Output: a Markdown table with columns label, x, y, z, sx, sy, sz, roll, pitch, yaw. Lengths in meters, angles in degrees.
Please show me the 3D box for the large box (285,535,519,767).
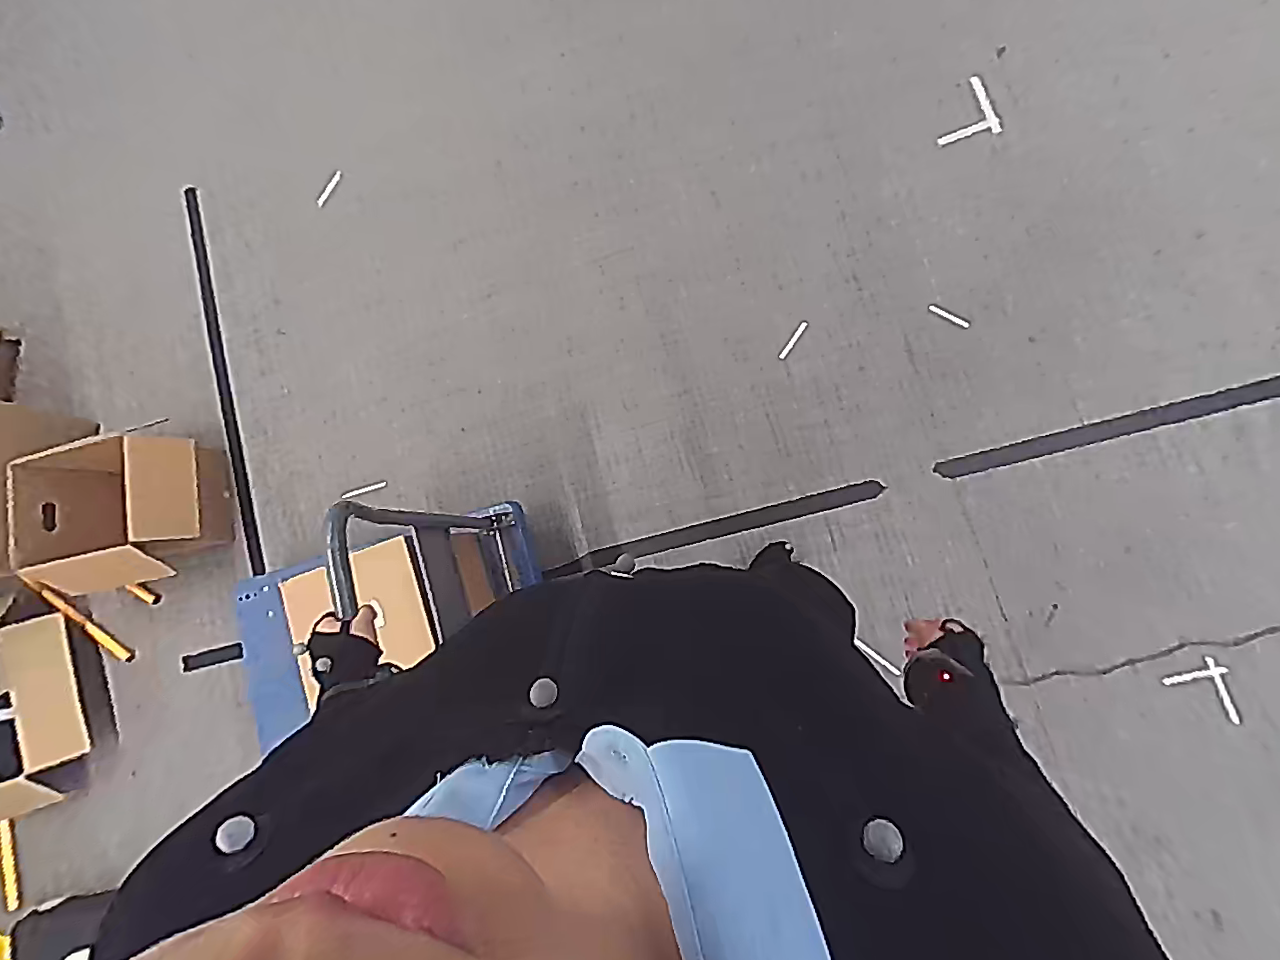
| label | x | y | z | sx | sy | sz | roll | pitch | yaw |
| --- | --- | --- | --- | --- | --- | --- | --- | --- | --- |
| large box | -0.530 | 0.366 | 1.255 | 0.320 | 0.320 | 0.408 | -21 | 81 | 7 |
